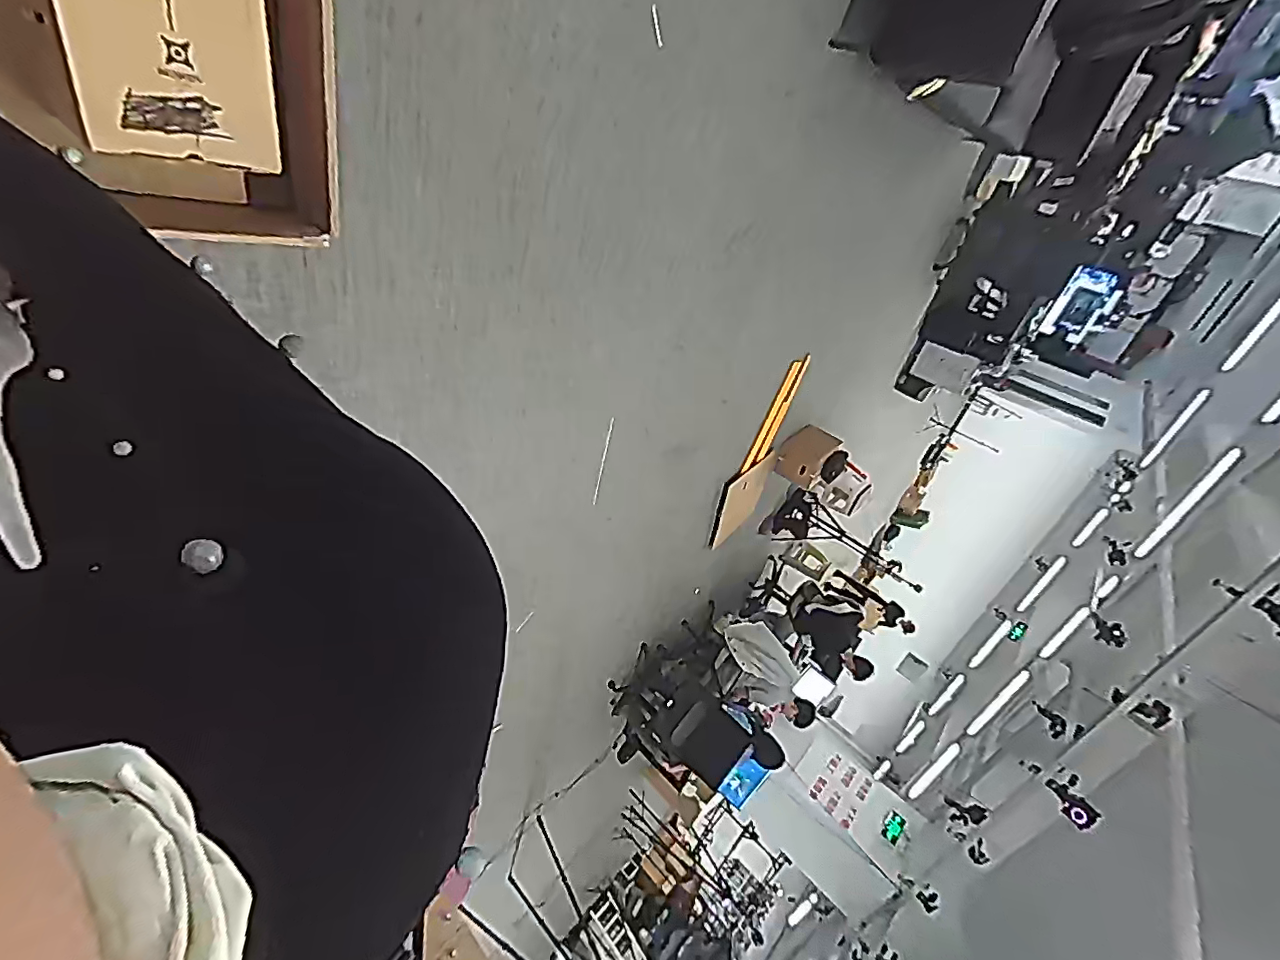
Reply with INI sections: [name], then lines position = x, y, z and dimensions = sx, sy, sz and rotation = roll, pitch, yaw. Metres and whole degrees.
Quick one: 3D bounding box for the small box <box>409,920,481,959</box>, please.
[small box]
position = -0.558, 1.421, 1.550
dimensions = 0.168, 0.176, 0.179
rotation = -25, 141, -43
